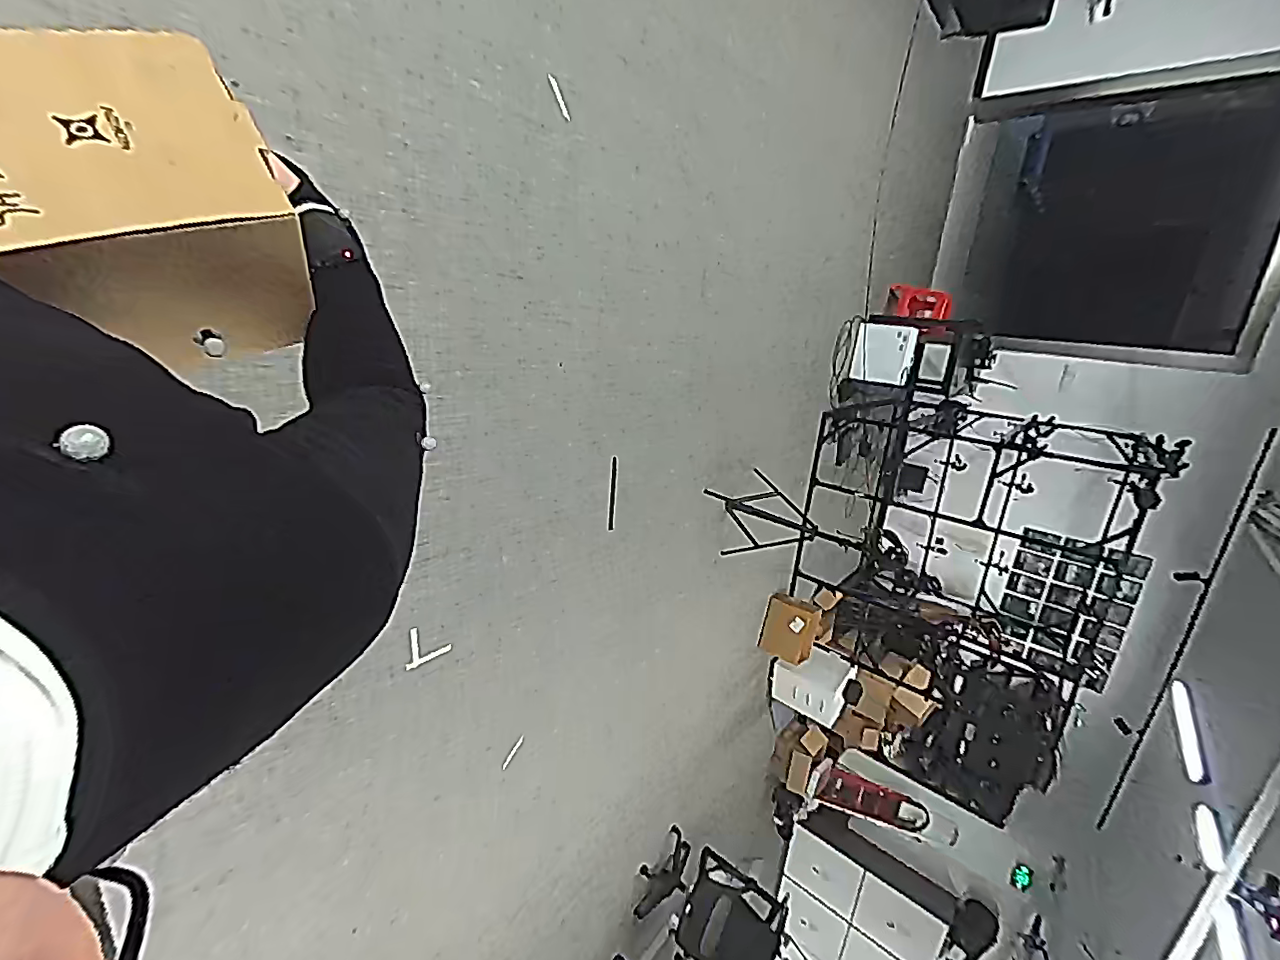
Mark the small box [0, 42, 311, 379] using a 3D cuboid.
[{"bbox_3d":[-0.396,-0.210,0.445,0.179,0.176,0.168,-26,83,-31],"label":"small box"}]
